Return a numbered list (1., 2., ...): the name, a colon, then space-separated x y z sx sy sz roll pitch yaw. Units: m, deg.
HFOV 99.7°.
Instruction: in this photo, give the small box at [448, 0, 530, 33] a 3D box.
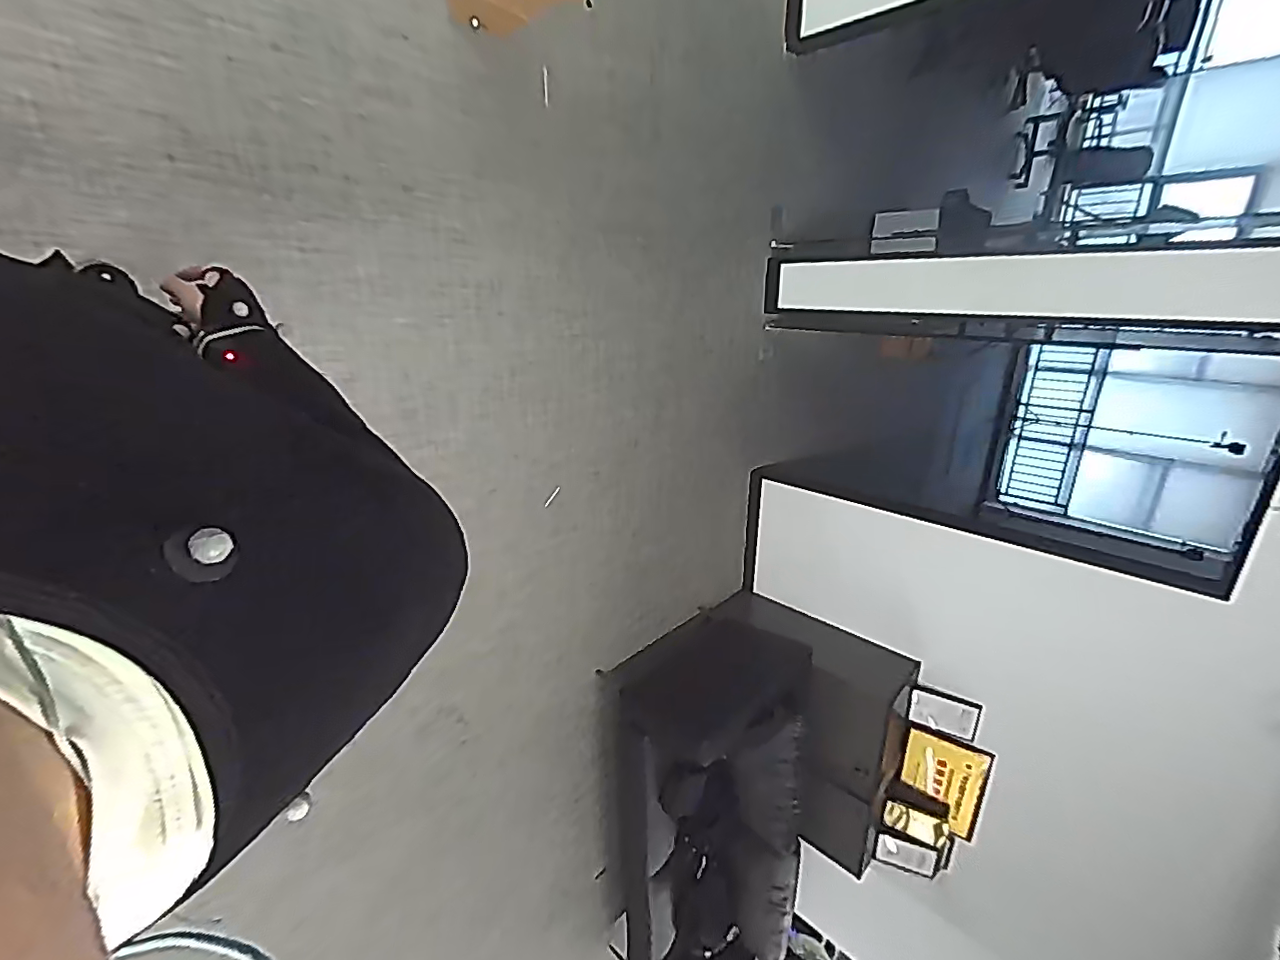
1. small box: -0.413 -1.371 1.468 0.168 0.176 0.179 -11 112 -45
